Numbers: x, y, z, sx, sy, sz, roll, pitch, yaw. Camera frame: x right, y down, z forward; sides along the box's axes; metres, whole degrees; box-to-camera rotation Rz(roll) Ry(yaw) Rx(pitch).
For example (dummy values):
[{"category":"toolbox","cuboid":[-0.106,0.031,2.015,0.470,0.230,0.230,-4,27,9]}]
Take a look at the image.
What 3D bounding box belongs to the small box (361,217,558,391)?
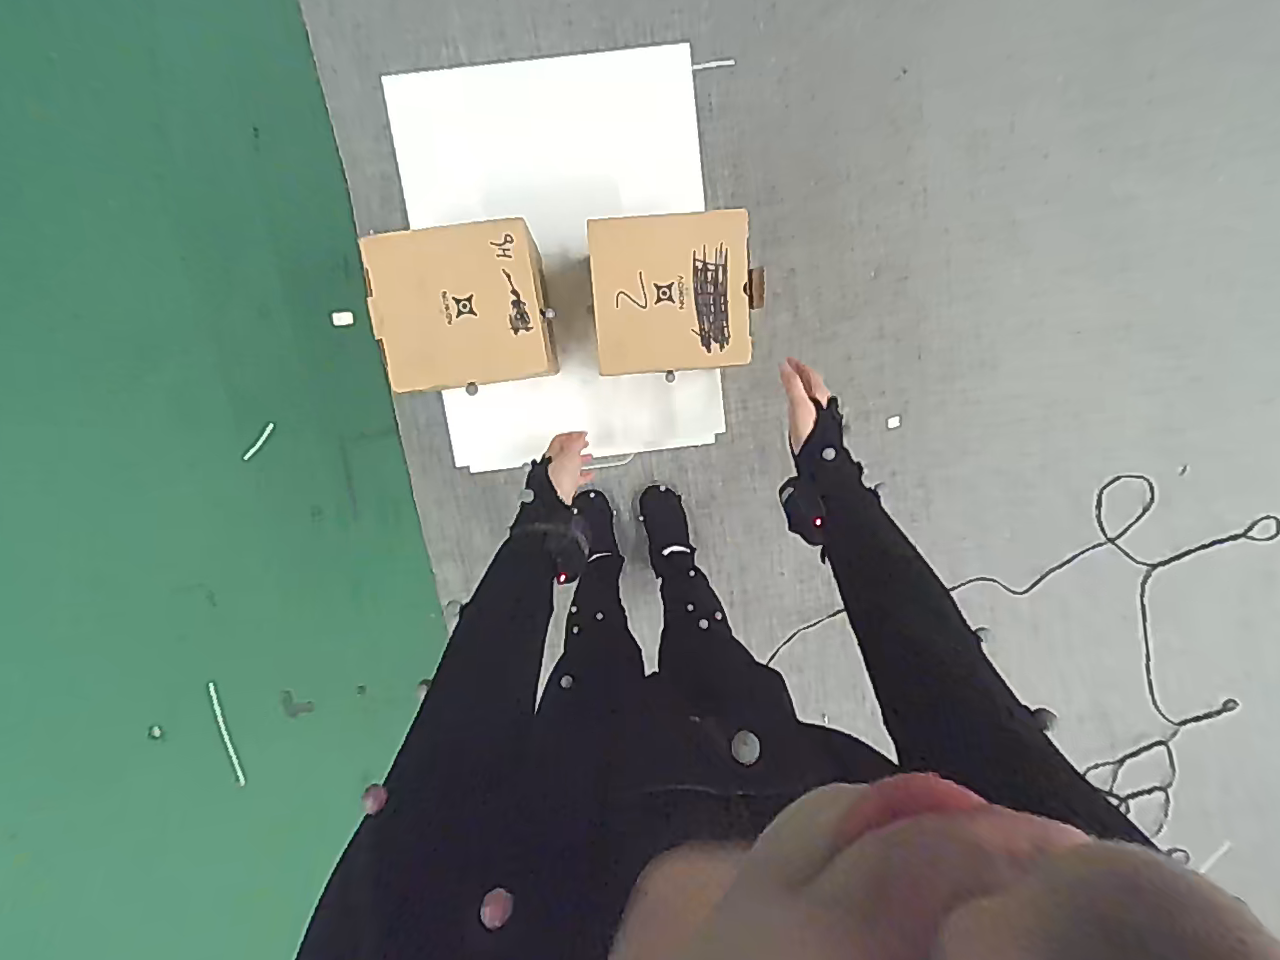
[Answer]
[{"category":"small box","cuboid":[-0.204,-0.201,0.661,0.179,0.176,0.168,-8,100,-3]}]
